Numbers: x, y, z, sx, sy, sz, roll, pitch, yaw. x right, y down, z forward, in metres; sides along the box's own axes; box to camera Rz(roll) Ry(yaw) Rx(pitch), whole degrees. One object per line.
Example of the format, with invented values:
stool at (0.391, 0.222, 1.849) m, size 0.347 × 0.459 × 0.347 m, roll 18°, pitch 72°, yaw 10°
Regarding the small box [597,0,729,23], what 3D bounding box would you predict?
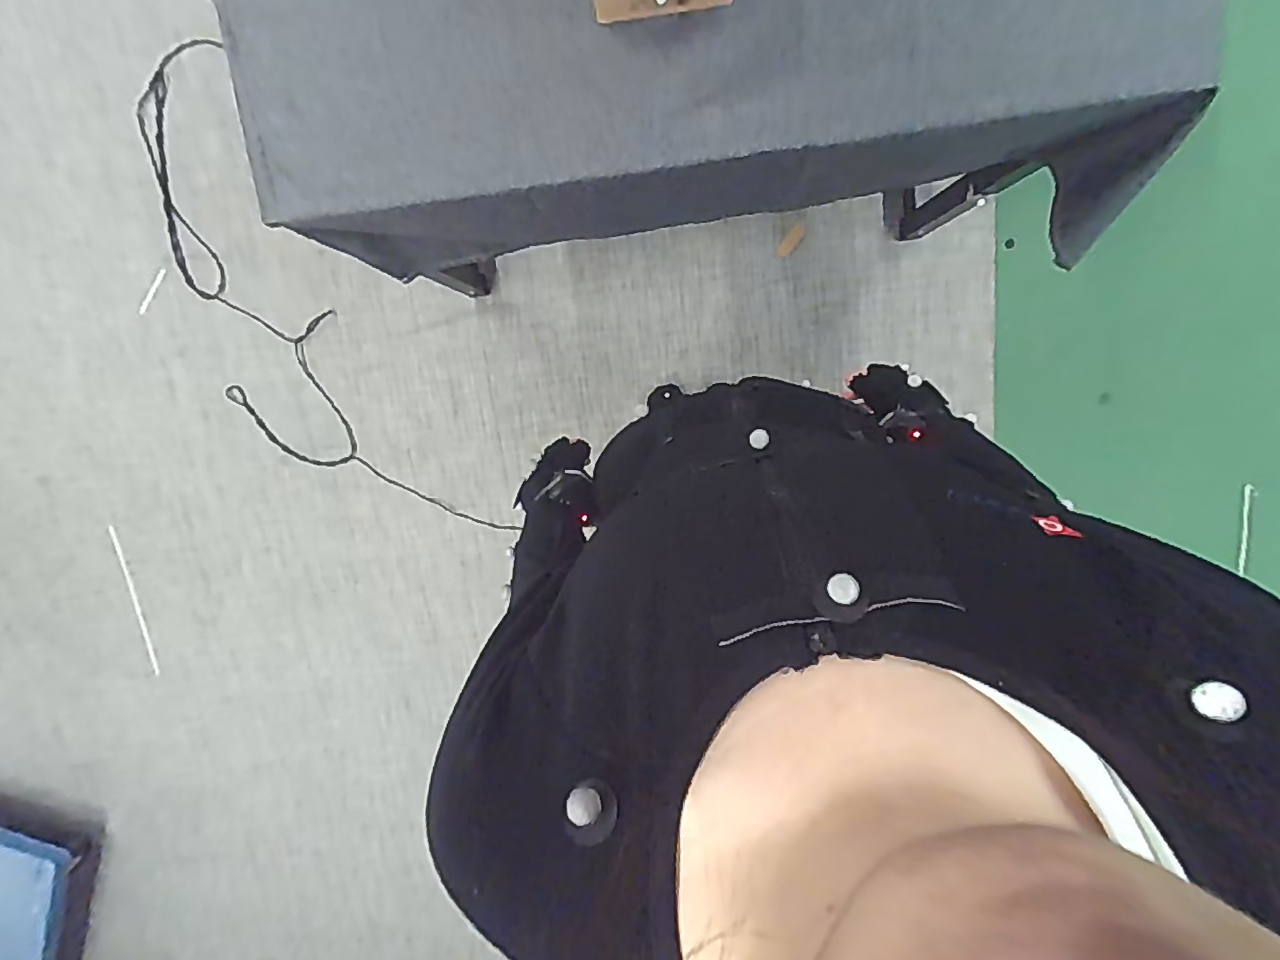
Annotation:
small box at (0.020, -0.638, 0.566) m, size 0.168 × 0.176 × 0.179 m, roll -5°, pitch 99°, yaw 4°
